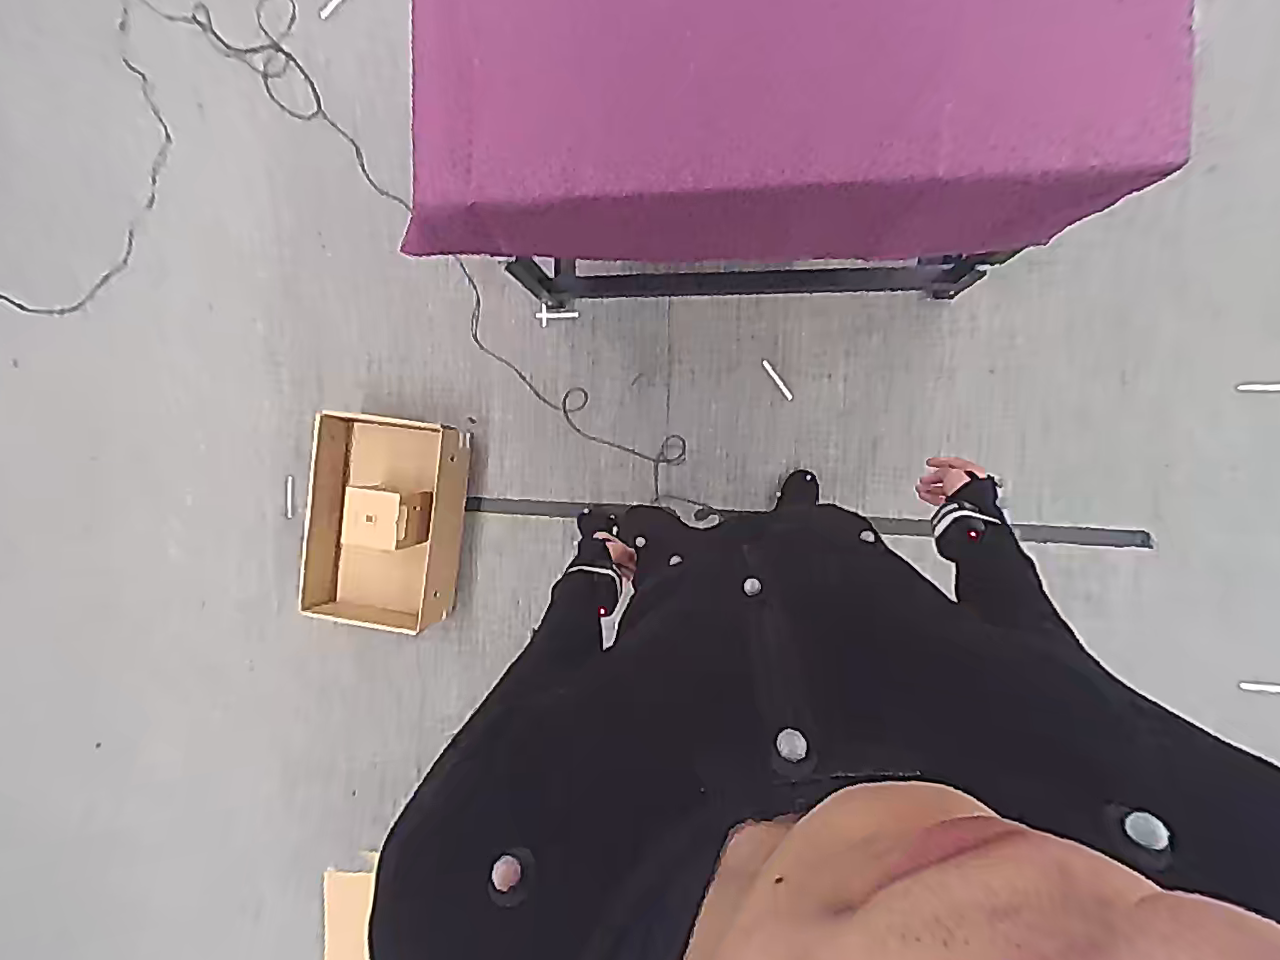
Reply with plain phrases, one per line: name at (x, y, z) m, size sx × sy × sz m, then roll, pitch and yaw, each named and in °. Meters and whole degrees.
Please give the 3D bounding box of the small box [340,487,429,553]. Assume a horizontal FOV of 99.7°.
small box at (-0.759, 0.113, 1.622) m, size 0.179 × 0.176 × 0.168 m, roll 7°, pitch 92°, yaw 7°
